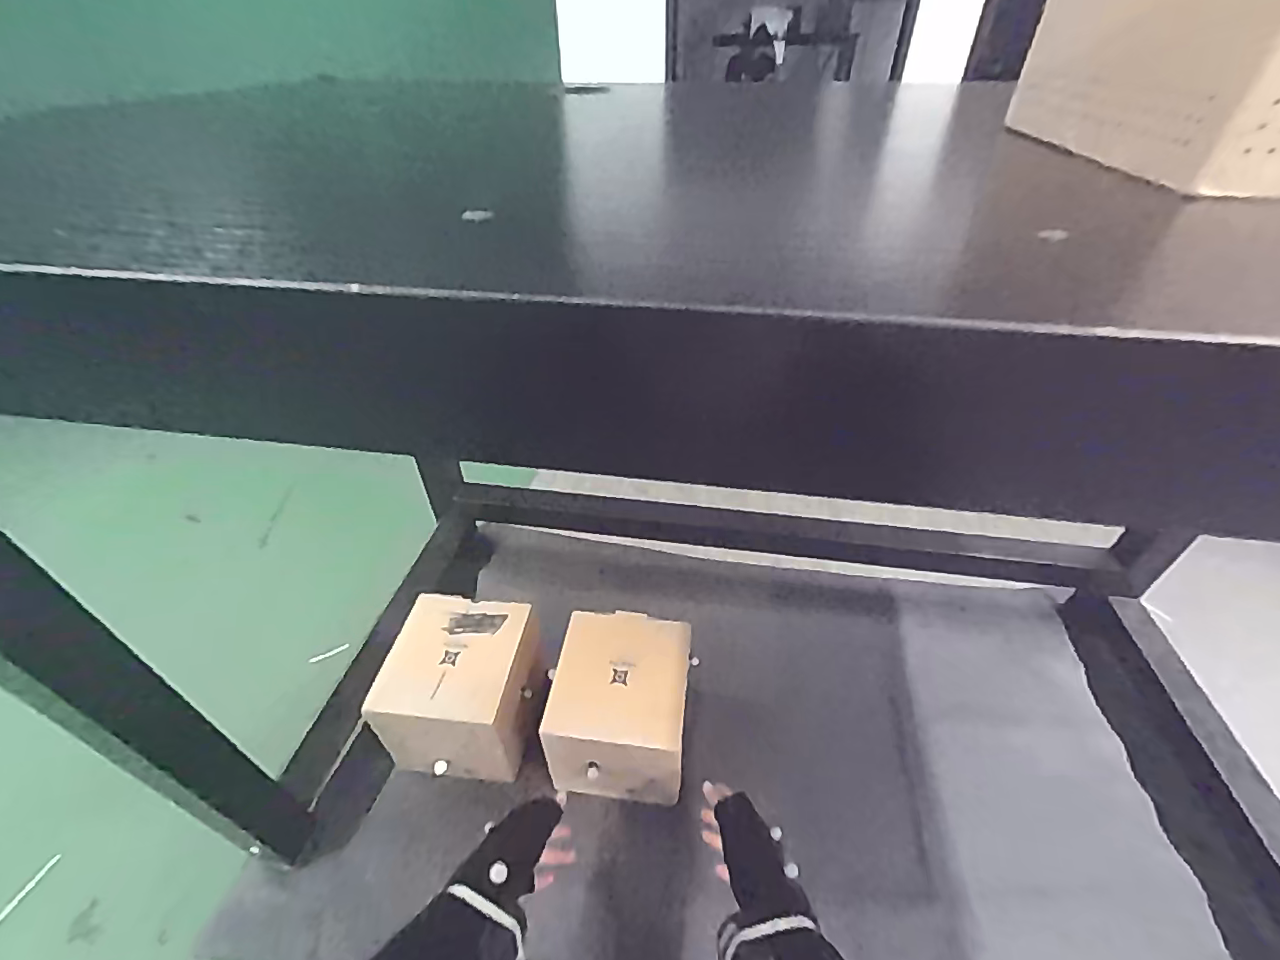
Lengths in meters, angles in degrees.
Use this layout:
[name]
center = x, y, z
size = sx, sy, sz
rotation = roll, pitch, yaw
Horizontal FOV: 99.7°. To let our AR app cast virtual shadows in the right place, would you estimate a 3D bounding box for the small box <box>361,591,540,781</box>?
[small box]
center = -0.243, 0.282, 0.748
size = 0.168, 0.176, 0.179
rotation = 4, 40, 6
